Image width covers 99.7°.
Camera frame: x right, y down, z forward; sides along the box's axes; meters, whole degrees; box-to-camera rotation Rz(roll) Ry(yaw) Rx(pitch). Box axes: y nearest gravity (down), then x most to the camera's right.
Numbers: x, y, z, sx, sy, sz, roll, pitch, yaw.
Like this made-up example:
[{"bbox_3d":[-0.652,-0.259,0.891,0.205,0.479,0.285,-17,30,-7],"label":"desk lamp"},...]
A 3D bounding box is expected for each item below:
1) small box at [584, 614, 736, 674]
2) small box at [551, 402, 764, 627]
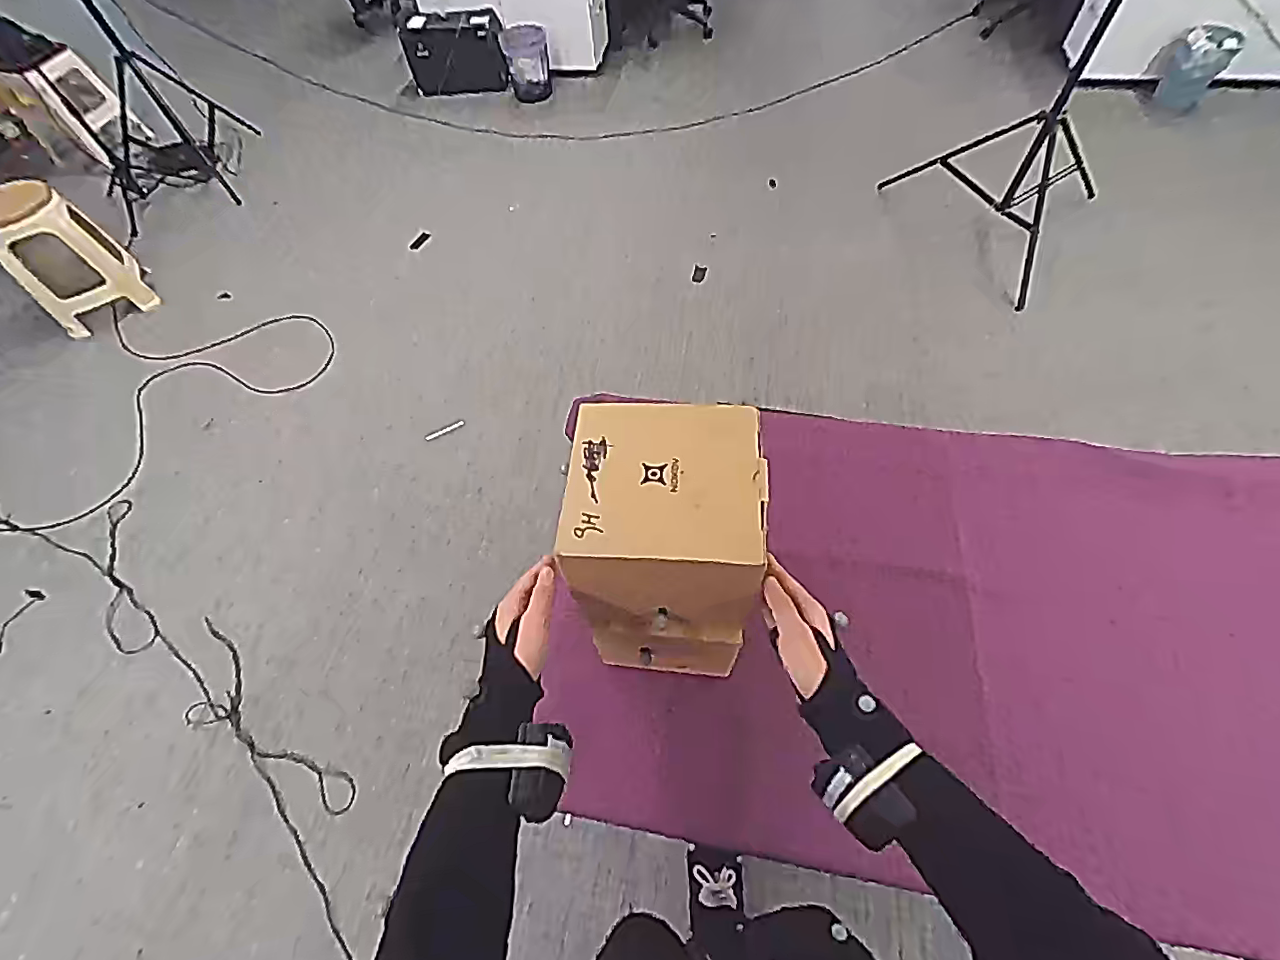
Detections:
[{"bbox_3d":[0.035,0.135,0.683,0.168,0.176,0.179,4,58,6],"label":"small box"},{"bbox_3d":[0.022,0.041,0.548,0.179,0.176,0.168,3,57,4],"label":"small box"}]
